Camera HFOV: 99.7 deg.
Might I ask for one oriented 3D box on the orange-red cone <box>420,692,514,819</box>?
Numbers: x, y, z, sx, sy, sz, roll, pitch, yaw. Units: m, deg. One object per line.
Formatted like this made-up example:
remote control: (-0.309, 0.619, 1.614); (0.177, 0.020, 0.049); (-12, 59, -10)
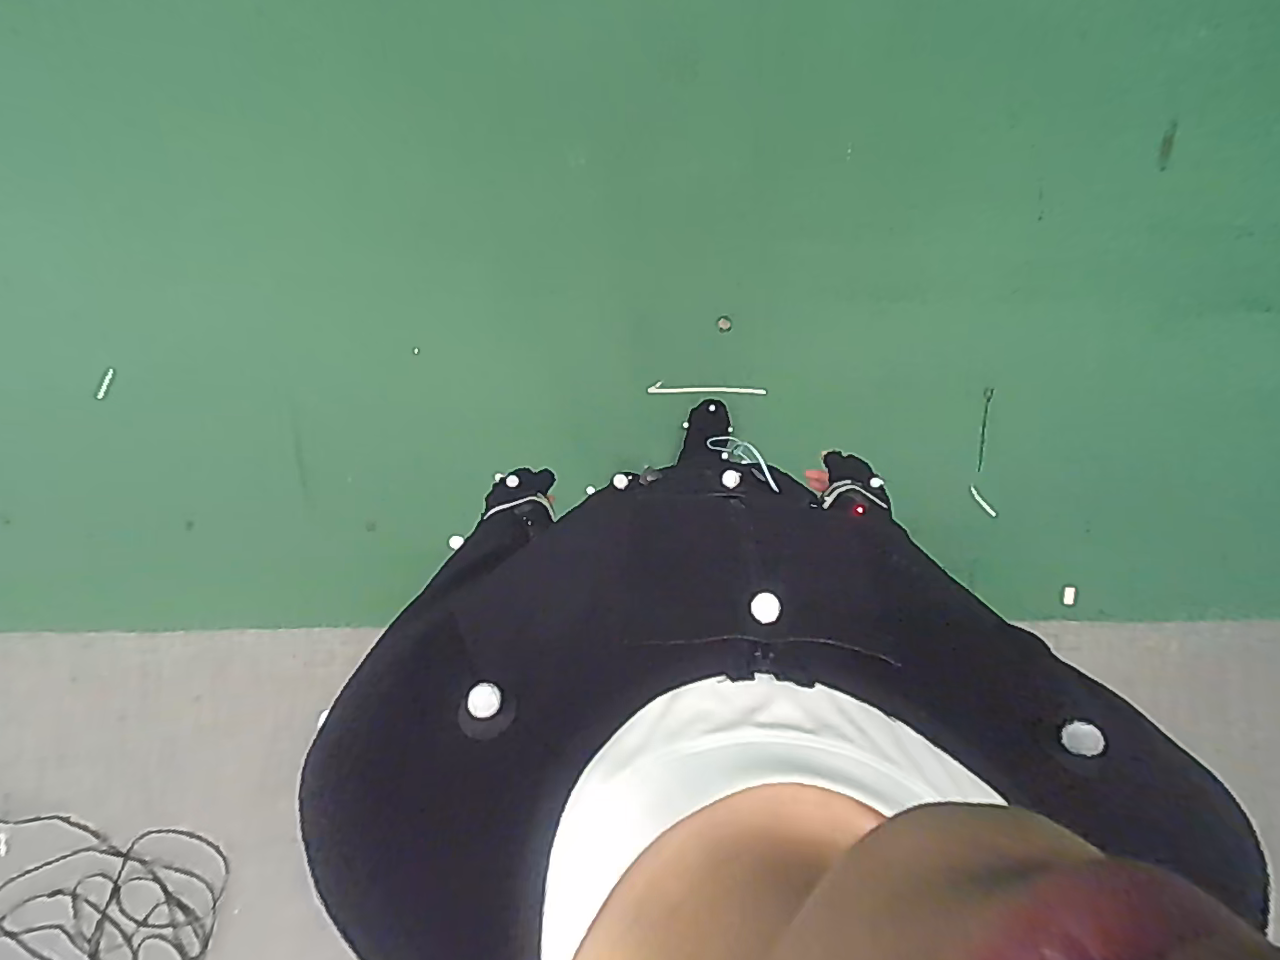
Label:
orange-red cone: (-0.455, 0.706, 1.344); (0.198, 0.360, 0.199); (0, 95, 0)
